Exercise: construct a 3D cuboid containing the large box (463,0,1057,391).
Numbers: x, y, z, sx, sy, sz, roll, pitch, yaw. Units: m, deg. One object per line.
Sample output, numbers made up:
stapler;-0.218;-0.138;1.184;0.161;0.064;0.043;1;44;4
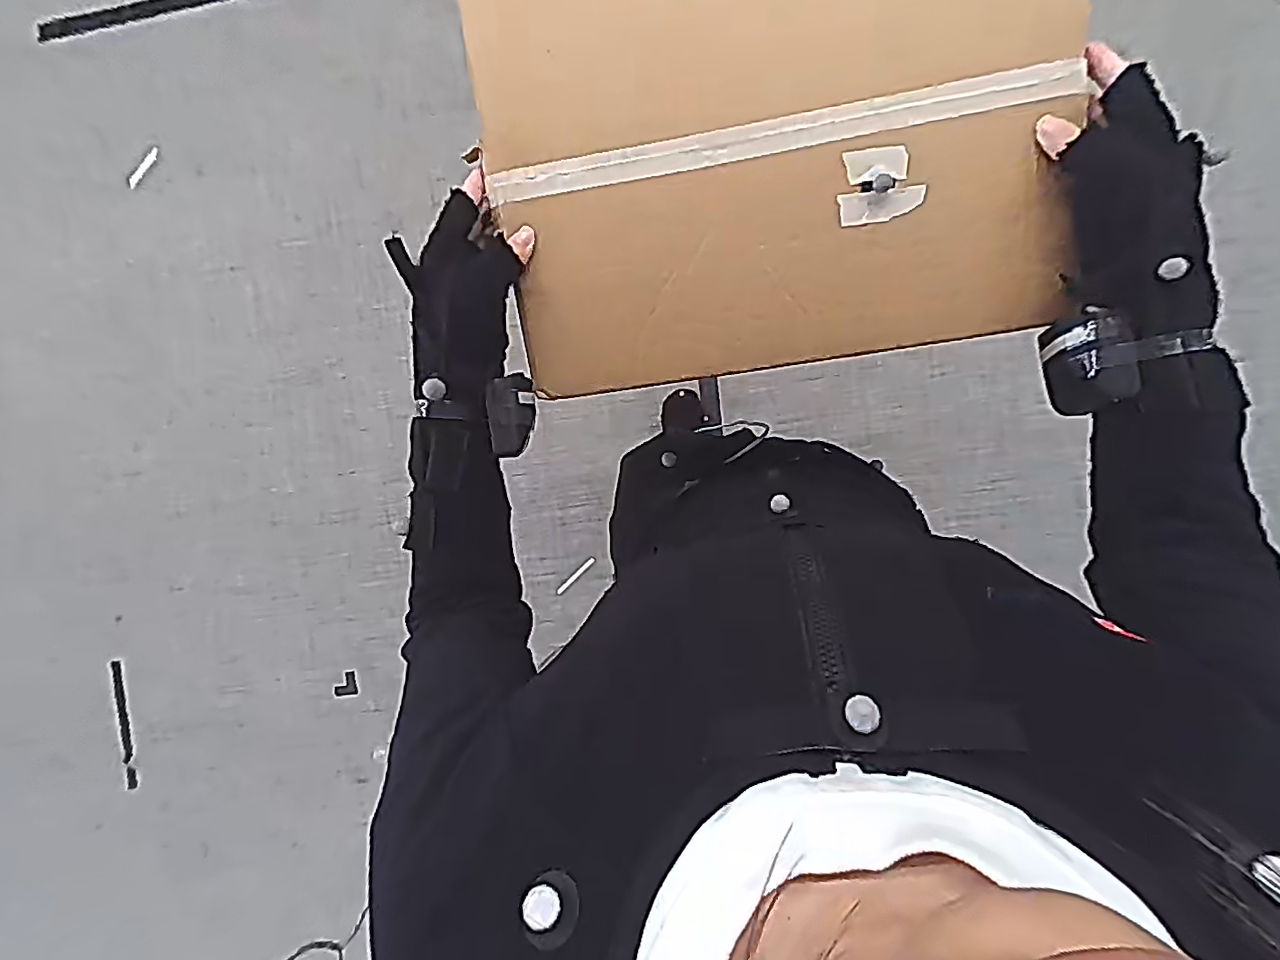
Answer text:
large box;0.097;-0.282;0.536;0.408;0.320;0.320;-8;104;5
